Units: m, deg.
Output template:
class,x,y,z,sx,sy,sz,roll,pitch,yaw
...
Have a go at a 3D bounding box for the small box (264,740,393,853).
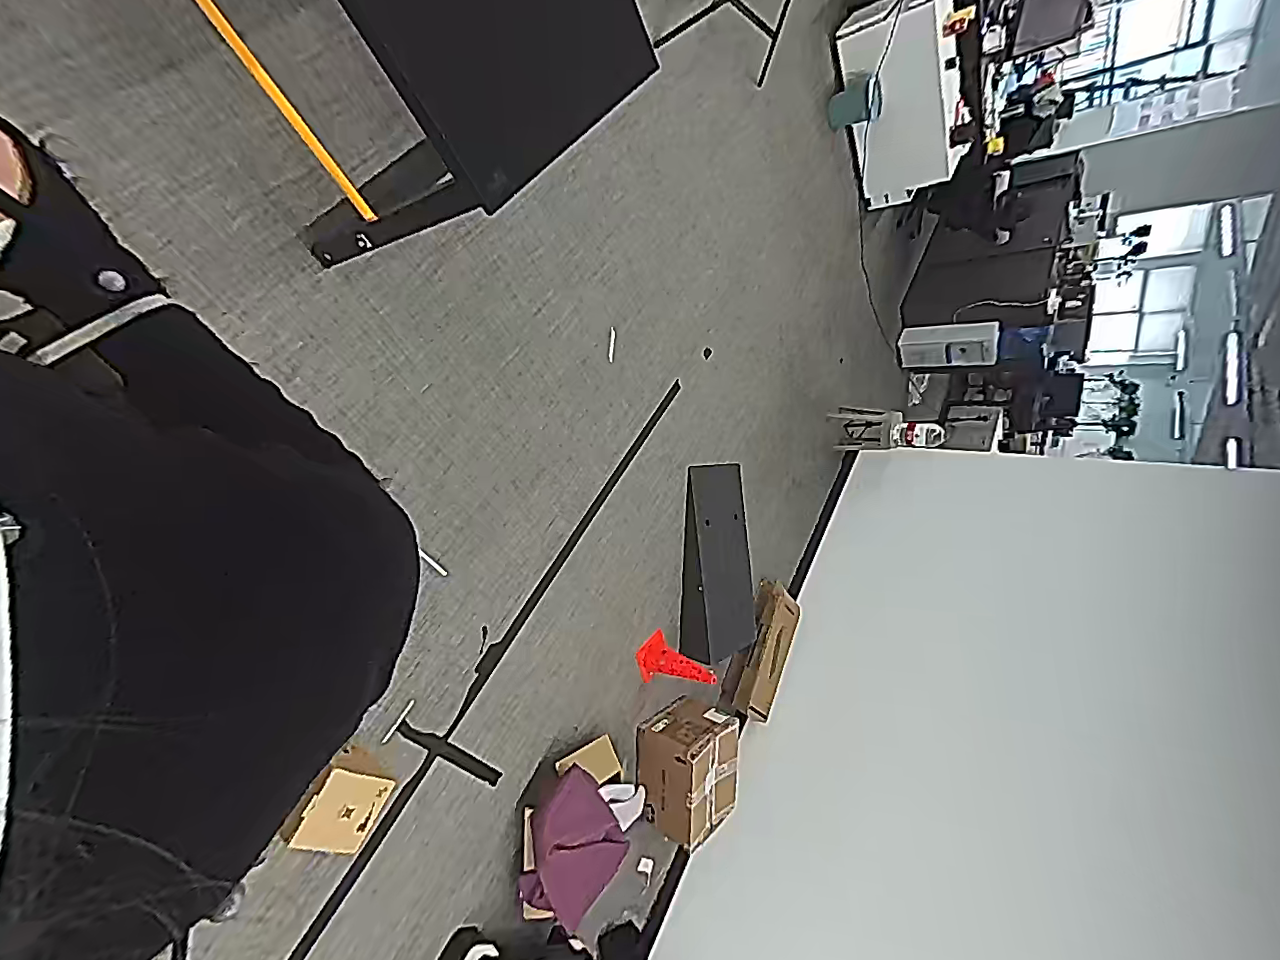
class,x,y,z,sx,sy,sz,roll,pitch,yaw
small box,-0.733,0.737,1.270,0.179,0.176,0.168,48,60,-42
